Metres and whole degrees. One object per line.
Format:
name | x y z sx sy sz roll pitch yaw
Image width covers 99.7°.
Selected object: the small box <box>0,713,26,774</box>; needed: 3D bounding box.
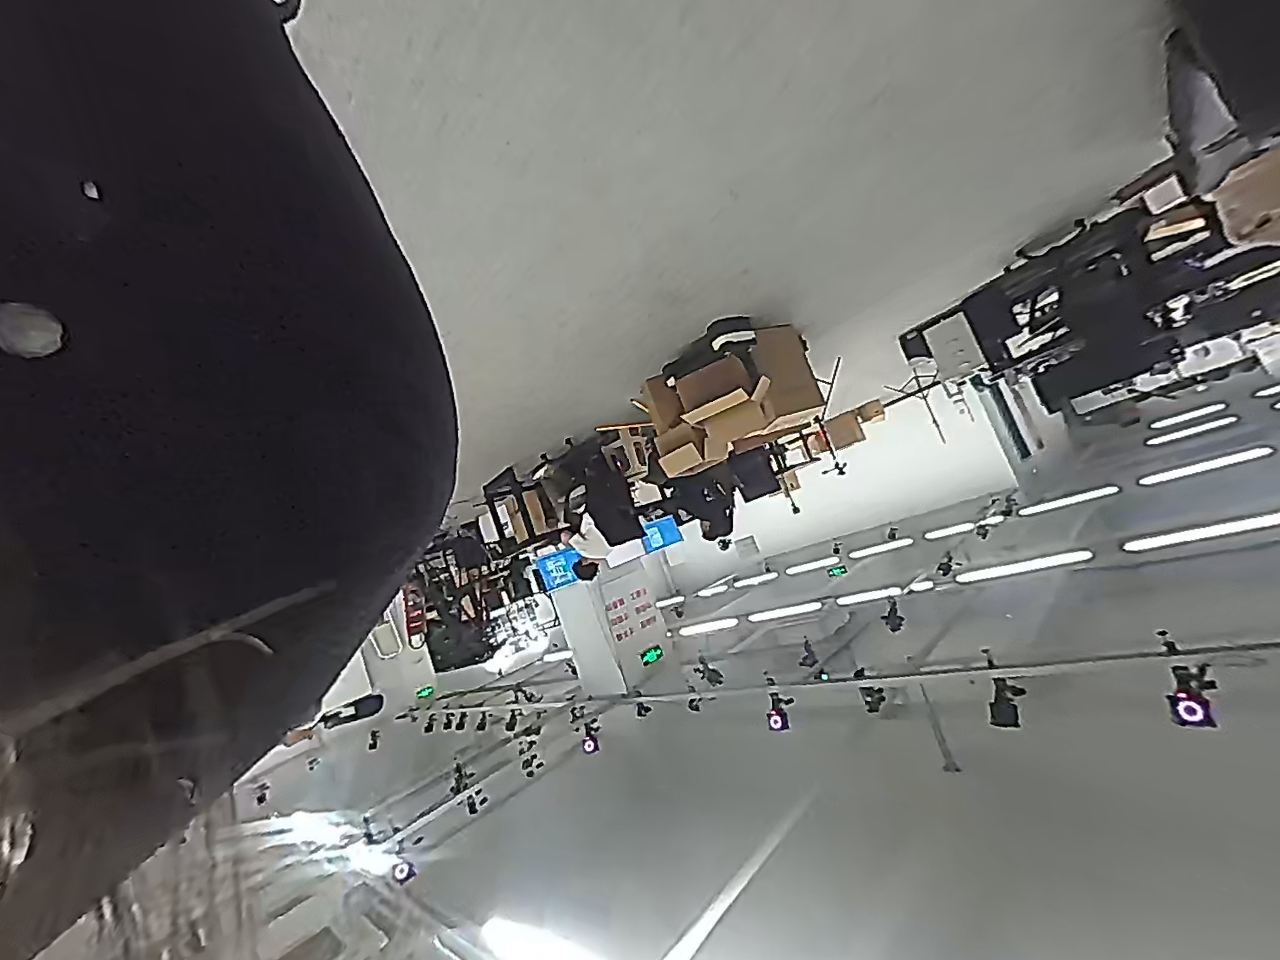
small box | -1.952 0.796 1.578 0.168 0.176 0.179 -15 170 -42
